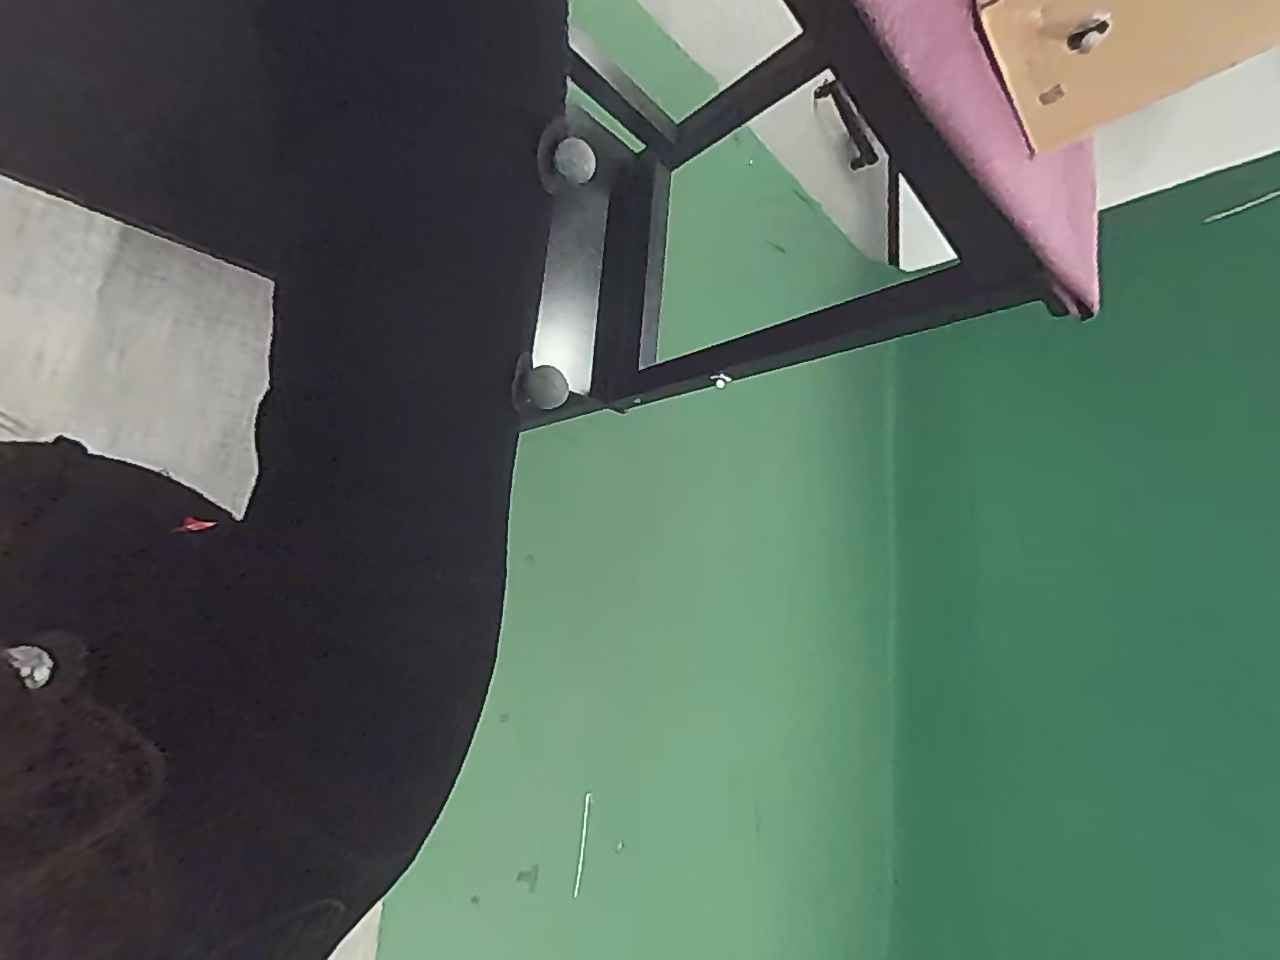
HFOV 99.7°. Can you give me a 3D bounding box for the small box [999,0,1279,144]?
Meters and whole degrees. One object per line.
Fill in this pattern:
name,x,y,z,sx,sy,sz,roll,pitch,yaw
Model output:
small box,0.372,-0.404,0.393,0.168,0.176,0.179,19,71,-40
